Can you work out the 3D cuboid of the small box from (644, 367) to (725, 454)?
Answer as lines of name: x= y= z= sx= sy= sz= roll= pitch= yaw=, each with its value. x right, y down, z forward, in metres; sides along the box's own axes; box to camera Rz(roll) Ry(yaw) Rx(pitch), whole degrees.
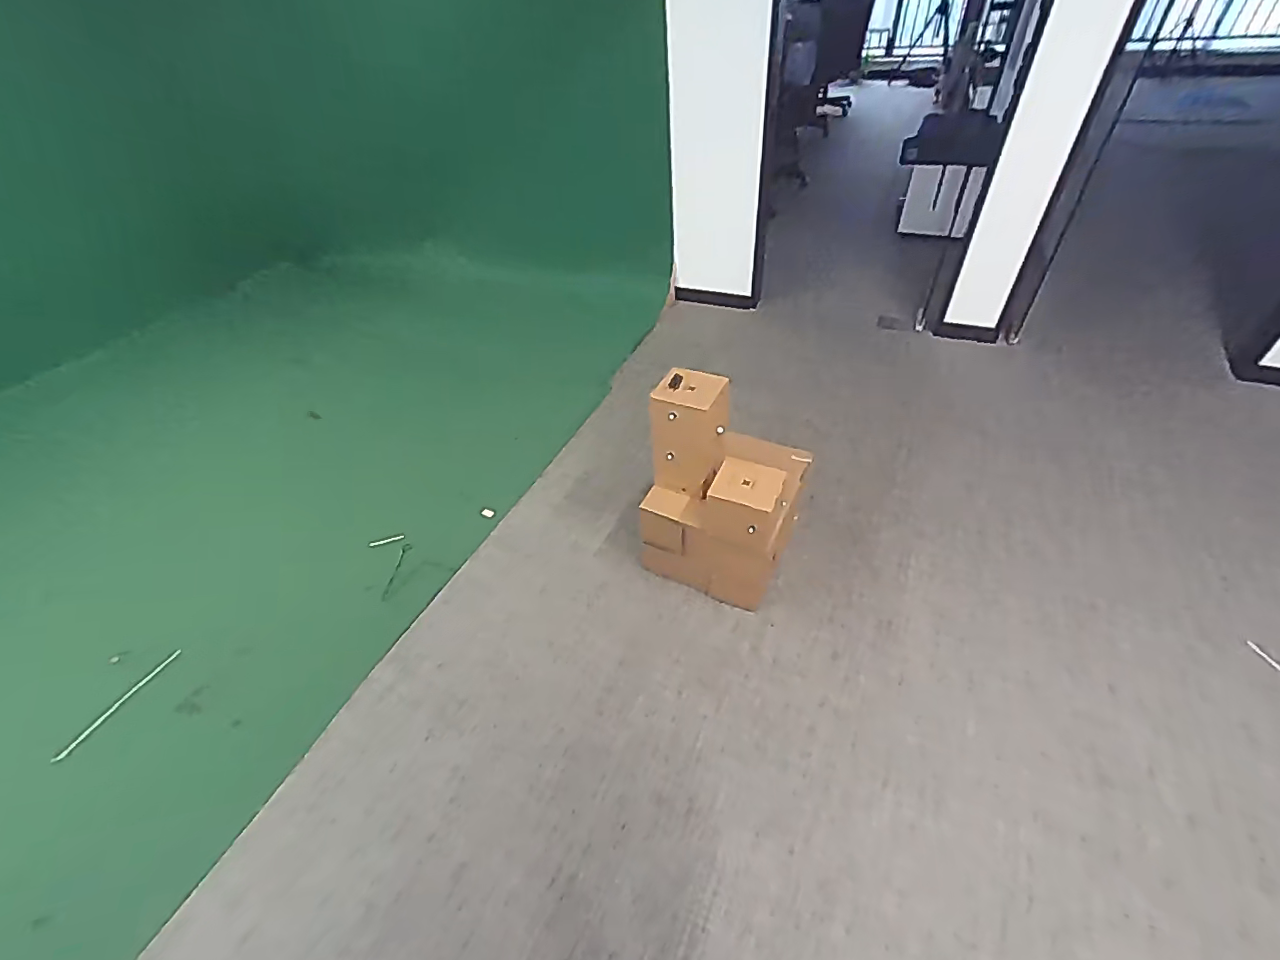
small box: x=0.128 y=-0.195 z=1.534 sx=0.179 sy=0.176 sz=0.168 roll=17 pitch=47 yaw=21

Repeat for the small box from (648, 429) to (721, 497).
small box: x=0.136 y=-0.078 z=1.651 sx=0.168 sy=0.176 sz=0.179 roll=17 pitch=47 yaw=22

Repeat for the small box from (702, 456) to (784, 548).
small box: x=0.281 y=0.064 z=1.488 sx=0.179 sy=0.176 sz=0.168 roll=16 pitch=47 yaw=20
